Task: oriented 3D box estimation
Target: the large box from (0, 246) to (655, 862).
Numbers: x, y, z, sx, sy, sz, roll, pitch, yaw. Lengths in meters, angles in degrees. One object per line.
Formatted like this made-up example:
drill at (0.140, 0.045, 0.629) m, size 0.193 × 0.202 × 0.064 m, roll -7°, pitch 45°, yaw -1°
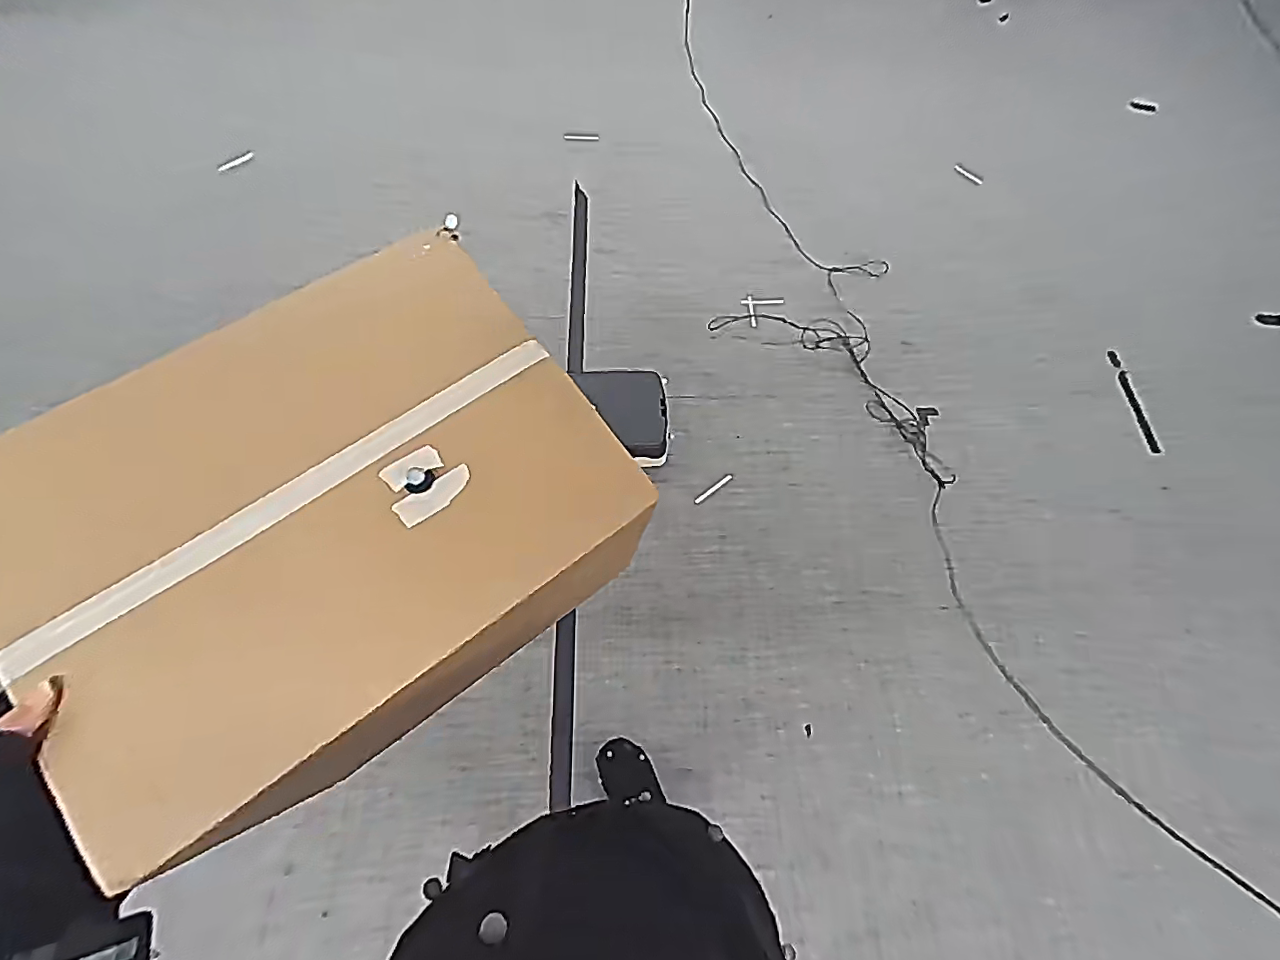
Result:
large box at (-0.245, 0.059, 0.548) m, size 0.408 × 0.320 × 0.320 m, roll -35°, pitch 78°, yaw -16°
